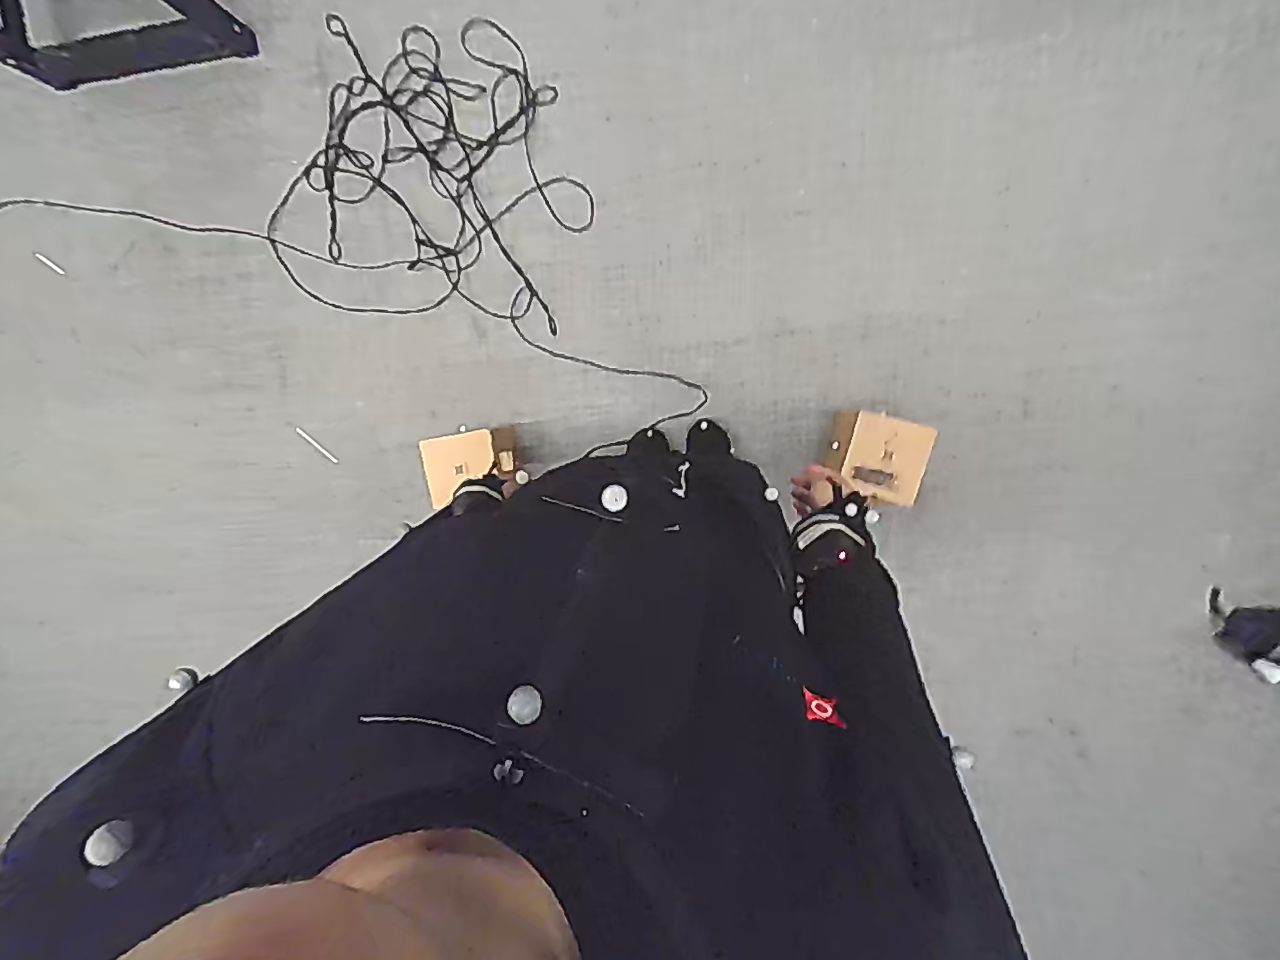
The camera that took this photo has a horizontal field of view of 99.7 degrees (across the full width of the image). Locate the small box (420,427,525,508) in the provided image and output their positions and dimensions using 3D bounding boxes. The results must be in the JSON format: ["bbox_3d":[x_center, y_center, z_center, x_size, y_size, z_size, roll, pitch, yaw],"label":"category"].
[{"bbox_3d":[-0.401,-0.035,1.318,0.179,0.176,0.168,-10,96,6],"label":"small box"}]
